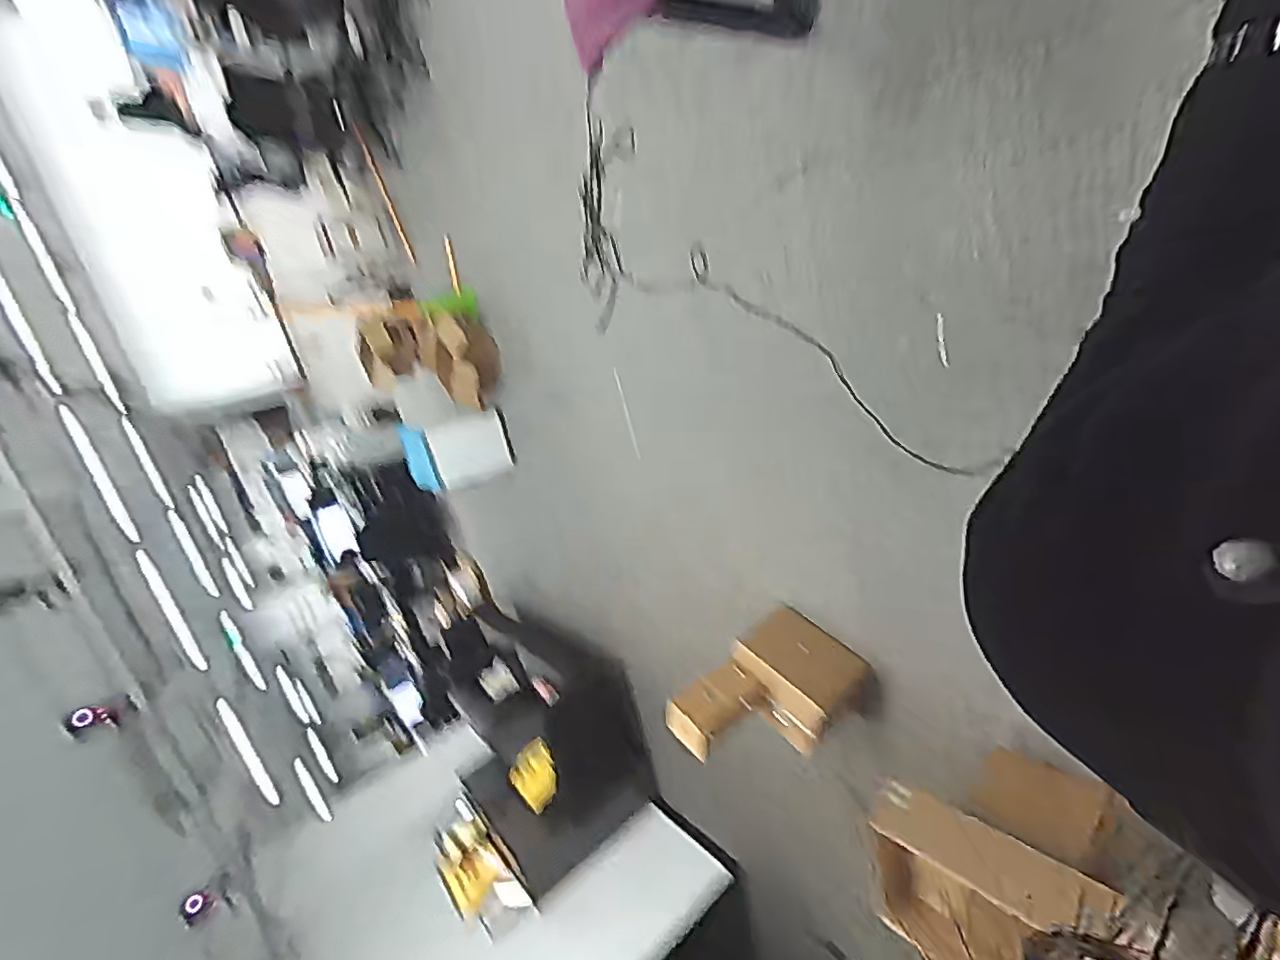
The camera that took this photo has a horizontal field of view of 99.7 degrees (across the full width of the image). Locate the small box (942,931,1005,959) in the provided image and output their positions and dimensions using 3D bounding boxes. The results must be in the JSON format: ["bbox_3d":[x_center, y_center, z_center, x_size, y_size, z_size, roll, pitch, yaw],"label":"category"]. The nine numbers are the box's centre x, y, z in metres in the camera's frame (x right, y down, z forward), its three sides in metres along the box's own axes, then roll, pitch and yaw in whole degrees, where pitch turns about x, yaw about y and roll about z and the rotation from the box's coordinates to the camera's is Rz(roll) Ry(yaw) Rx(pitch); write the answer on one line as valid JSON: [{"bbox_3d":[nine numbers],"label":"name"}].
[{"bbox_3d":[0.805,1.229,1.265,0.168,0.176,0.179,1,110,54],"label":"small box"}]

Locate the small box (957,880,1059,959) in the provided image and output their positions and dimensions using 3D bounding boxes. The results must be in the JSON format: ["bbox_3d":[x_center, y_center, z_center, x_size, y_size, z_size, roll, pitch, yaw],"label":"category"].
[{"bbox_3d":[0.928,1.174,1.358,0.168,0.176,0.179,4,113,53],"label":"small box"}]

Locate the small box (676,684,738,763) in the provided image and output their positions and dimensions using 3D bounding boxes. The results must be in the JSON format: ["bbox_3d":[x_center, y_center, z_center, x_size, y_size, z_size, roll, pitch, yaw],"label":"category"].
[{"bbox_3d":[0.254,0.914,2.042,0.168,0.176,0.179,29,132,43],"label":"small box"}]
